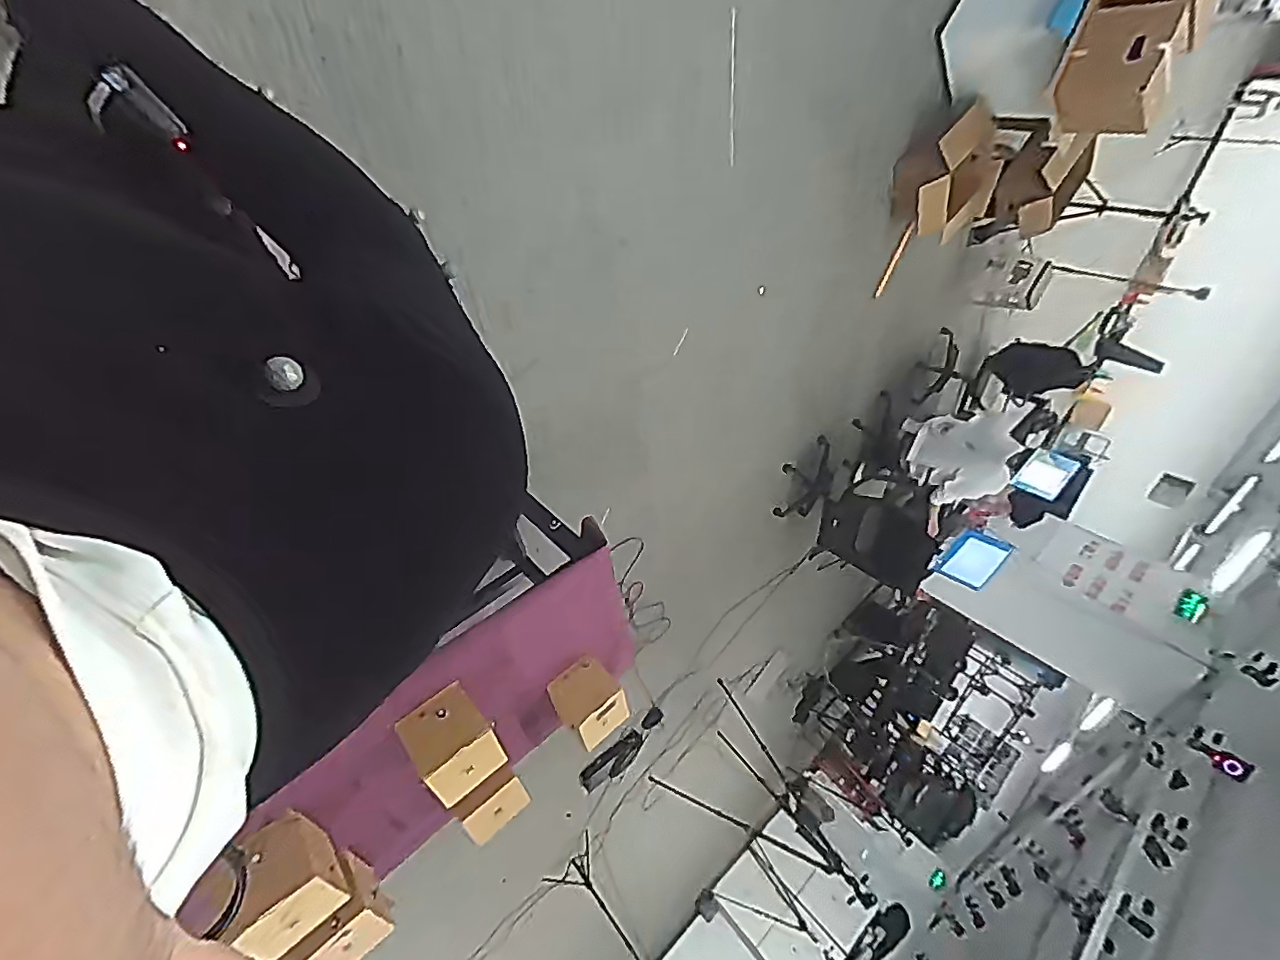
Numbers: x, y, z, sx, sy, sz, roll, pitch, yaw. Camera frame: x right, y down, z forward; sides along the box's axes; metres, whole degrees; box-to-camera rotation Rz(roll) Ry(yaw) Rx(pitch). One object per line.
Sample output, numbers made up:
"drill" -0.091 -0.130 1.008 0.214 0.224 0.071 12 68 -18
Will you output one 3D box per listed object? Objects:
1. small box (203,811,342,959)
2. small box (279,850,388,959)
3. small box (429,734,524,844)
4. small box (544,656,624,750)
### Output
"small box" -0.757 0.833 1.120 0.168 0.176 0.179 -32 138 -29
"small box" -0.741 1.033 1.290 0.168 0.176 0.179 -33 137 -28
"small box" -0.441 0.831 1.468 0.168 0.176 0.179 -33 136 -28
"small box" -0.170 0.663 1.633 0.168 0.176 0.179 -32 137 -26
